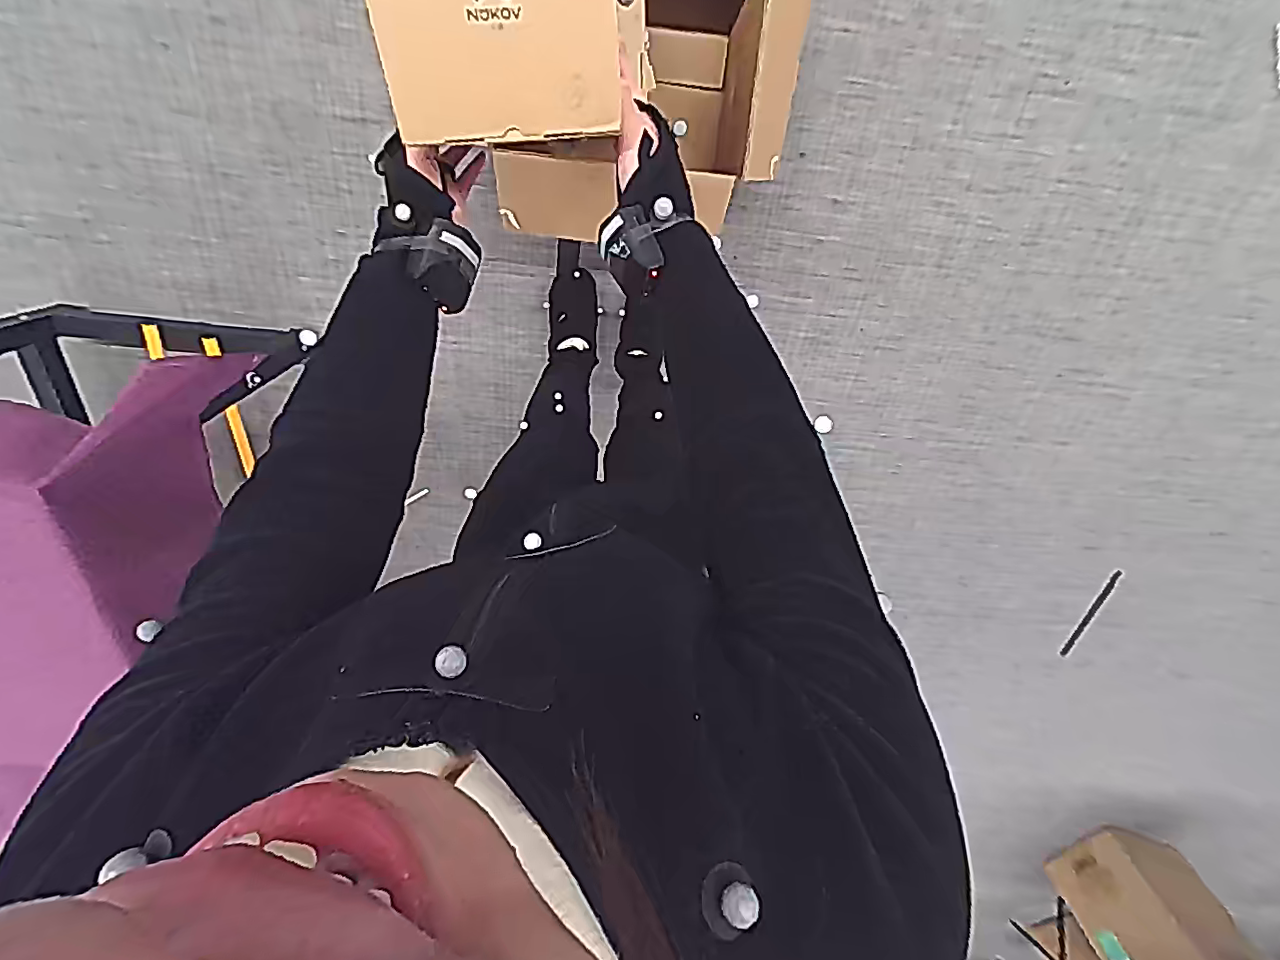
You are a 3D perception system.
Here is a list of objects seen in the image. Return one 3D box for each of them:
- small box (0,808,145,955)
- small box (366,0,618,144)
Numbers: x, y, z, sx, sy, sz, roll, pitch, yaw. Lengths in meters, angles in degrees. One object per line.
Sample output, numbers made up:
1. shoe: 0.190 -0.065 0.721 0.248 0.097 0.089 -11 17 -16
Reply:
1. small box: -1.071 0.735 0.996 0.179 0.176 0.168 8 120 -6
2. small box: -0.103 -0.371 0.415 0.168 0.176 0.179 -4 126 -3
